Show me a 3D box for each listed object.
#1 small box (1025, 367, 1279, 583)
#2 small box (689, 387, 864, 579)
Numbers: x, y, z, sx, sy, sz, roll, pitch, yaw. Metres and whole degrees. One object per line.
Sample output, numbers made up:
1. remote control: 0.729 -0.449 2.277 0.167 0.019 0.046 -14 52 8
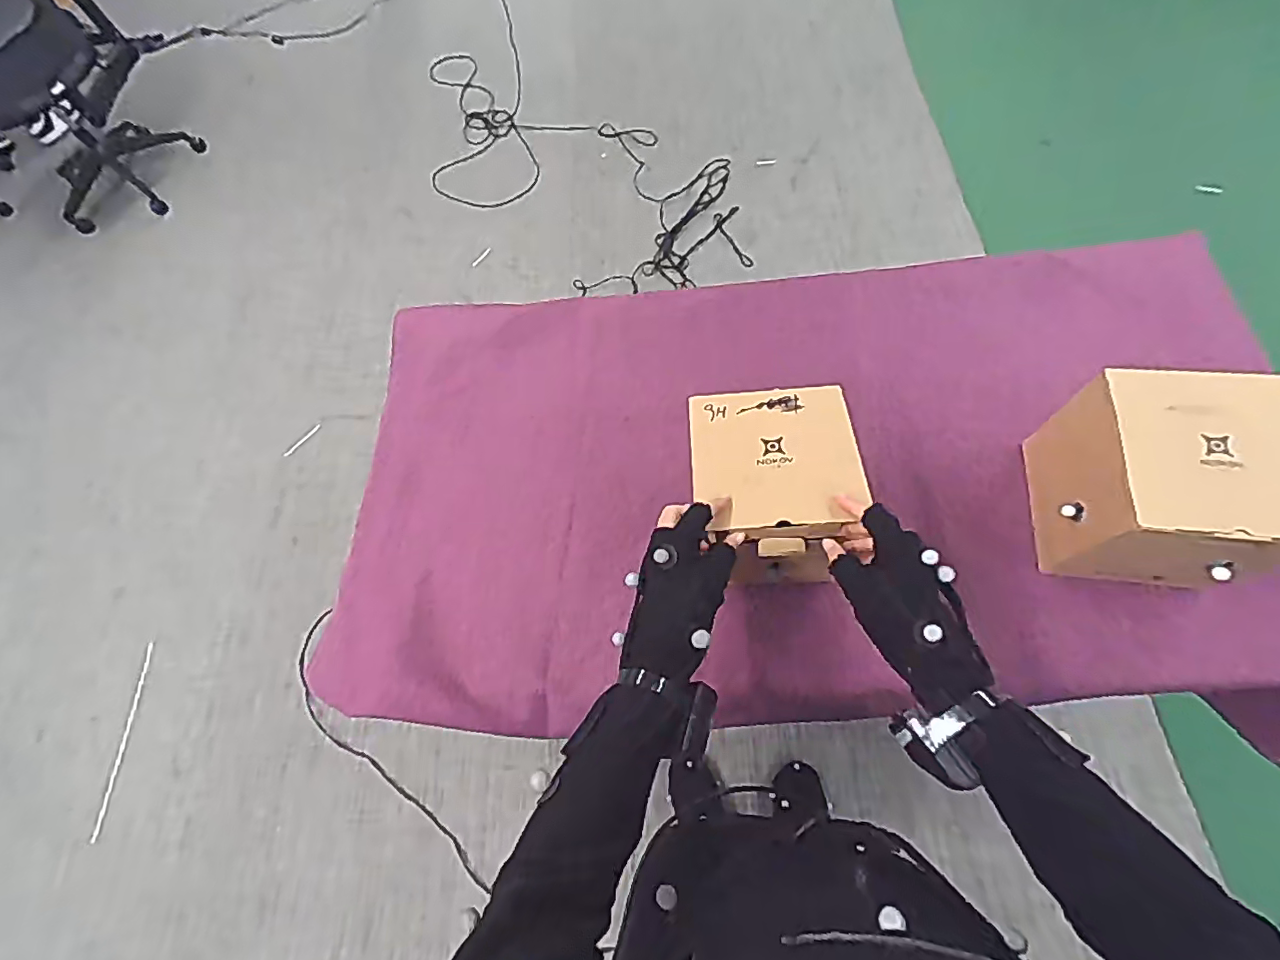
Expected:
1. small box: 0.548 0.003 0.577 0.168 0.176 0.179 5 67 10
2. small box: 0.146 0.015 0.630 0.168 0.176 0.179 -3 65 7
